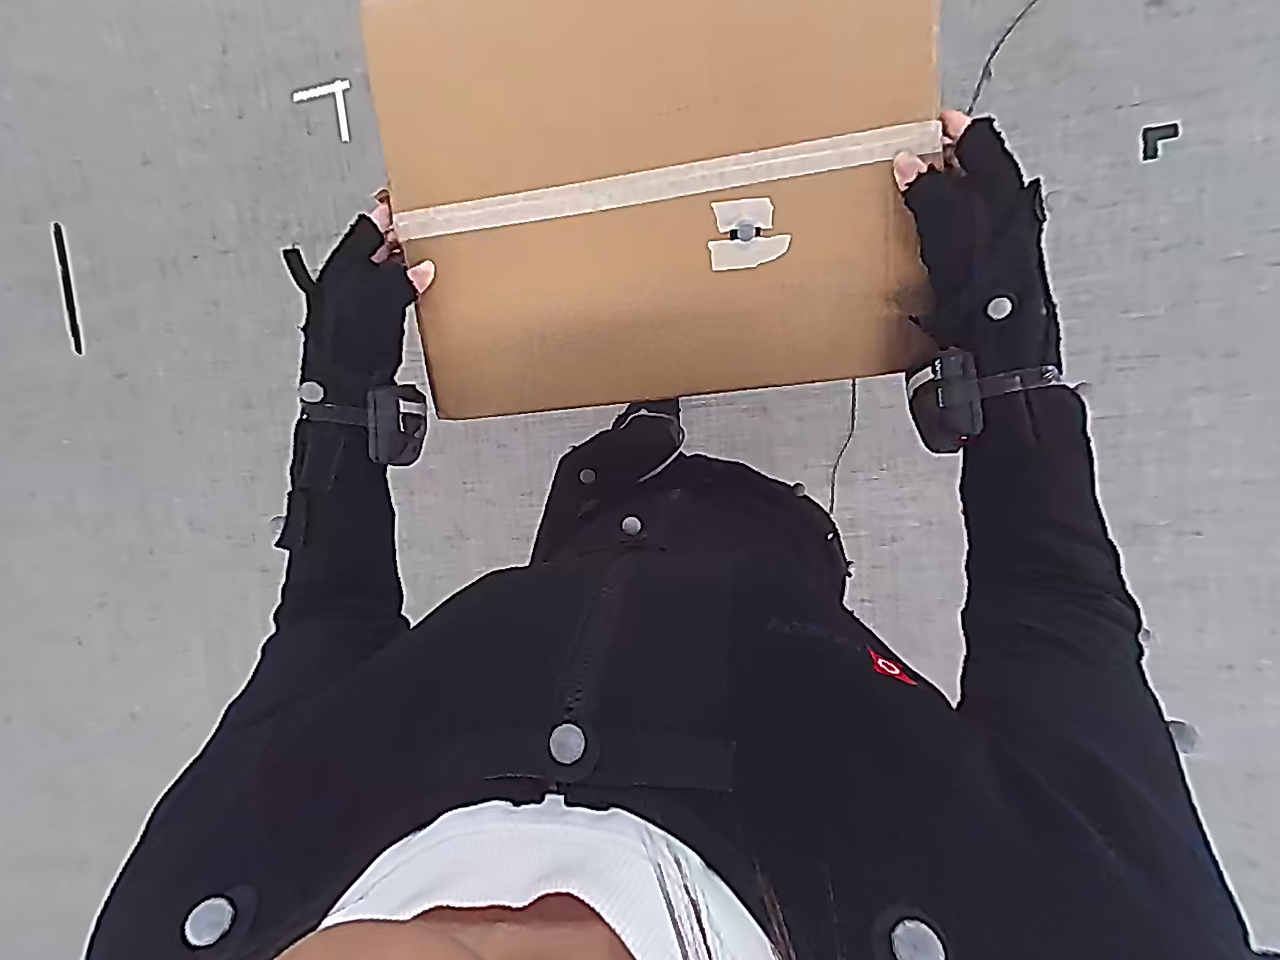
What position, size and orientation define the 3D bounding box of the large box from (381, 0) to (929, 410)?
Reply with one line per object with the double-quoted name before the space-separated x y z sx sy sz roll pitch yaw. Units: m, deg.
"large box" 0.027 -0.260 0.563 0.408 0.320 0.320 -5 102 8
